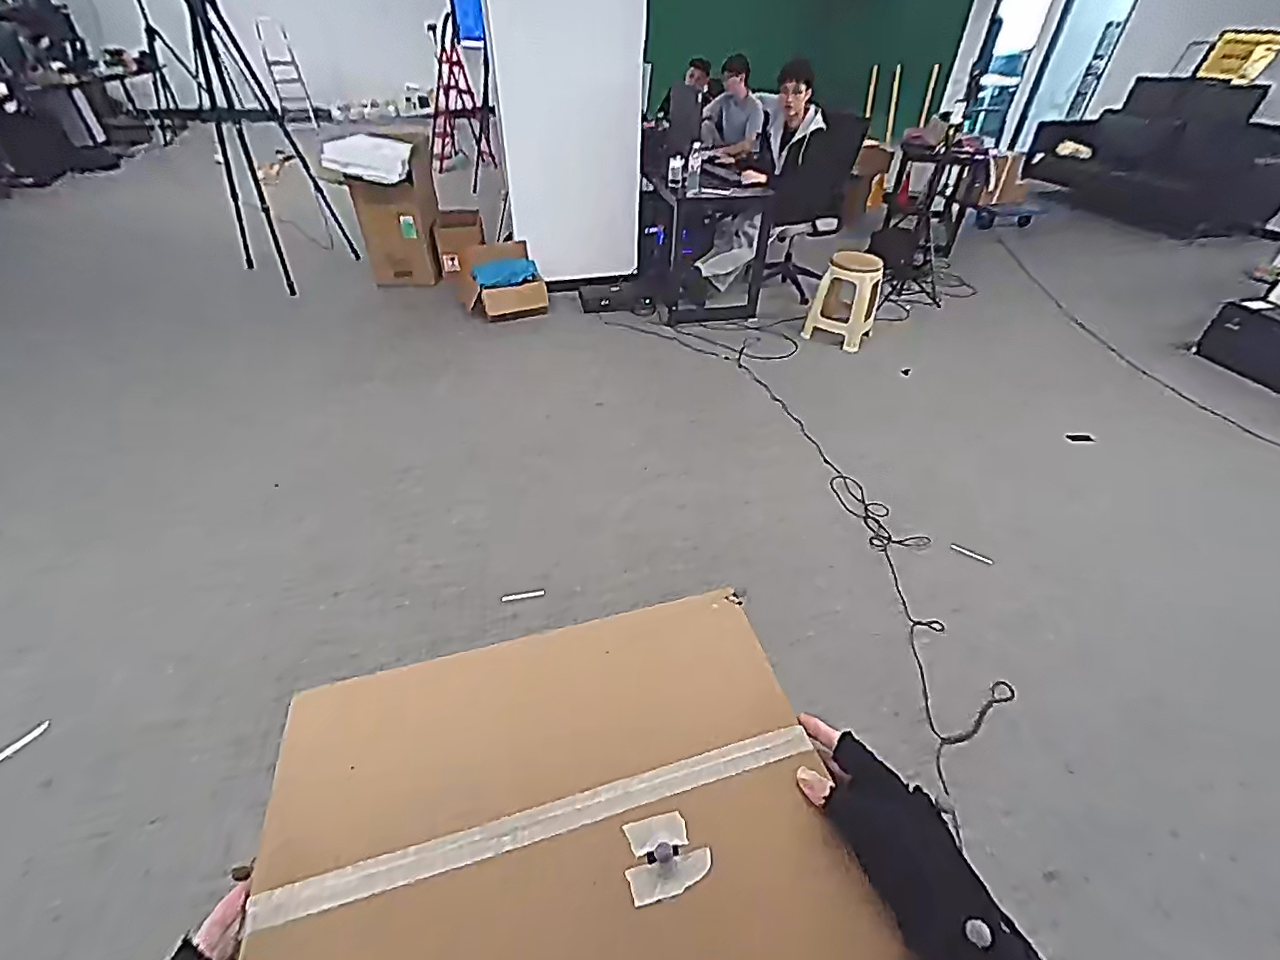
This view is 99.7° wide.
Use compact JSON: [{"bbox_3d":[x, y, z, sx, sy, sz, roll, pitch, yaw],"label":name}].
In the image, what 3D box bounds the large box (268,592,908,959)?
[{"bbox_3d":[-0.059,0.360,0.508,0.408,0.320,0.320,-10,43,-13],"label":"large box"}]
